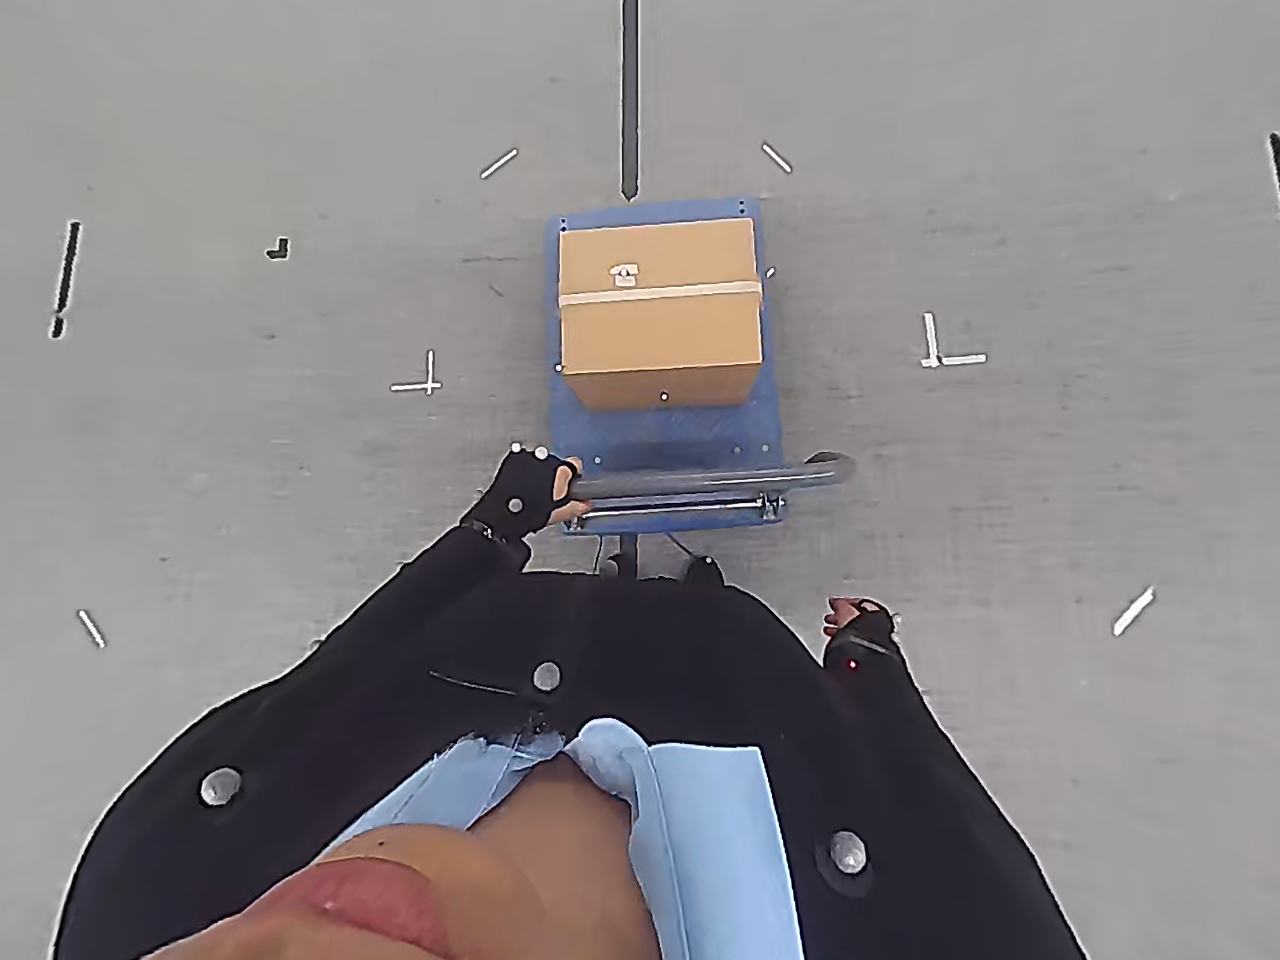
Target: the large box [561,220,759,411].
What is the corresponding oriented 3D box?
[{"bbox_3d":[0.050,-0.357,1.262,0.408,0.320,0.320,-3,81,5],"label":"large box"}]
